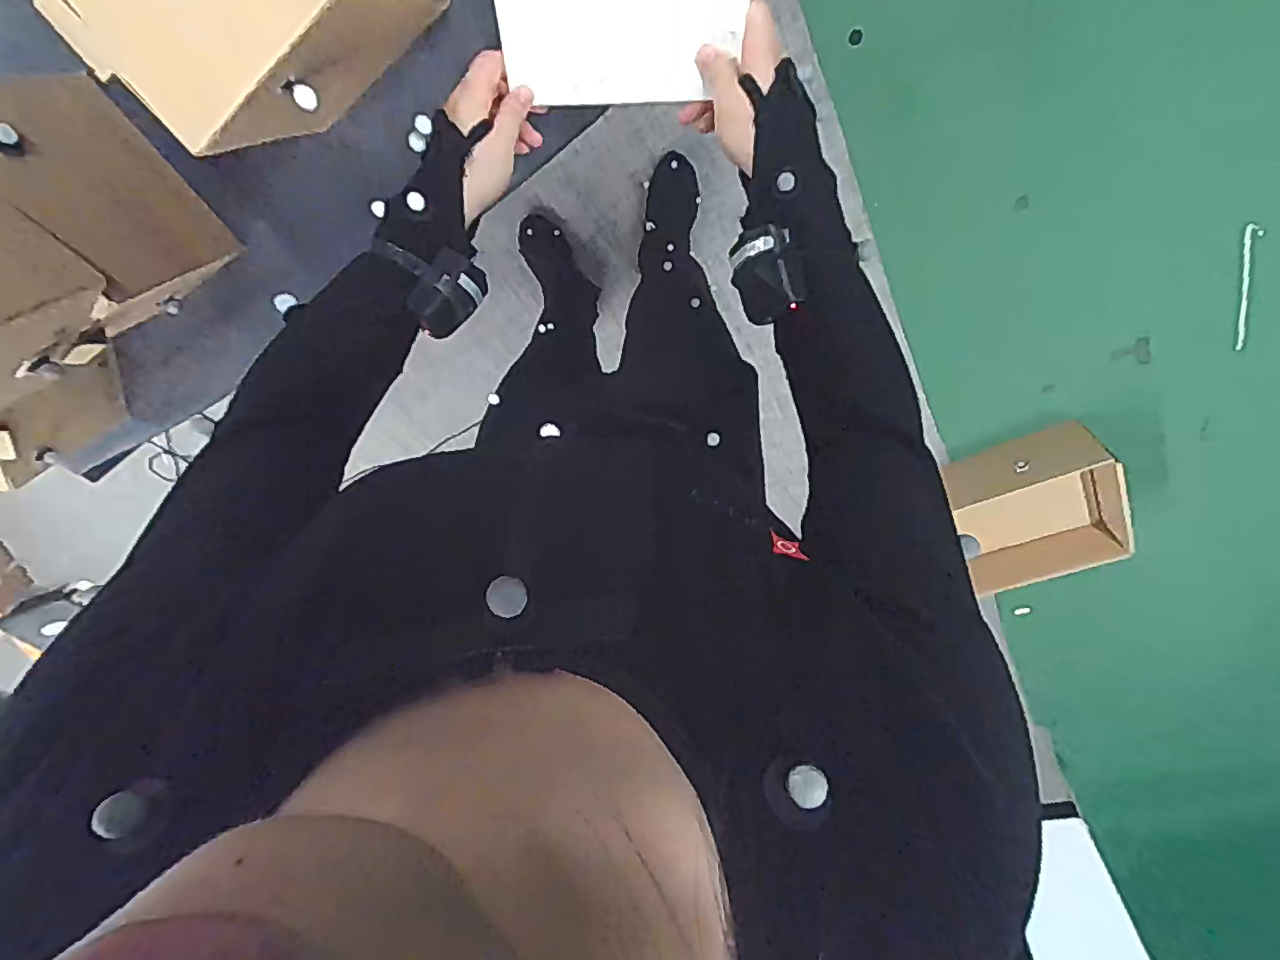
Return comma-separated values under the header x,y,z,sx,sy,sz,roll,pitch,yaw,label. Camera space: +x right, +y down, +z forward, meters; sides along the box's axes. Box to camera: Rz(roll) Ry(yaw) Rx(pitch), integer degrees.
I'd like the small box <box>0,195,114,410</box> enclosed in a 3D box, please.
x,y,z,sx,sy,sz,roll,pitch,yaw,label
-0.555,-0.134,0.385,0.168,0.176,0.179,-29,121,29,small box

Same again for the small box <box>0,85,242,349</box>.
x,y,z,sx,sy,sz,roll,pitch,yaw,label
-0.543,-0.238,0.510,0.168,0.176,0.179,-19,125,23,small box

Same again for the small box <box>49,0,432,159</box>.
x,y,z,sx,sy,sz,roll,pitch,yaw,label
-0.272,-0.363,0.369,0.179,0.176,0.168,-23,123,25,small box
